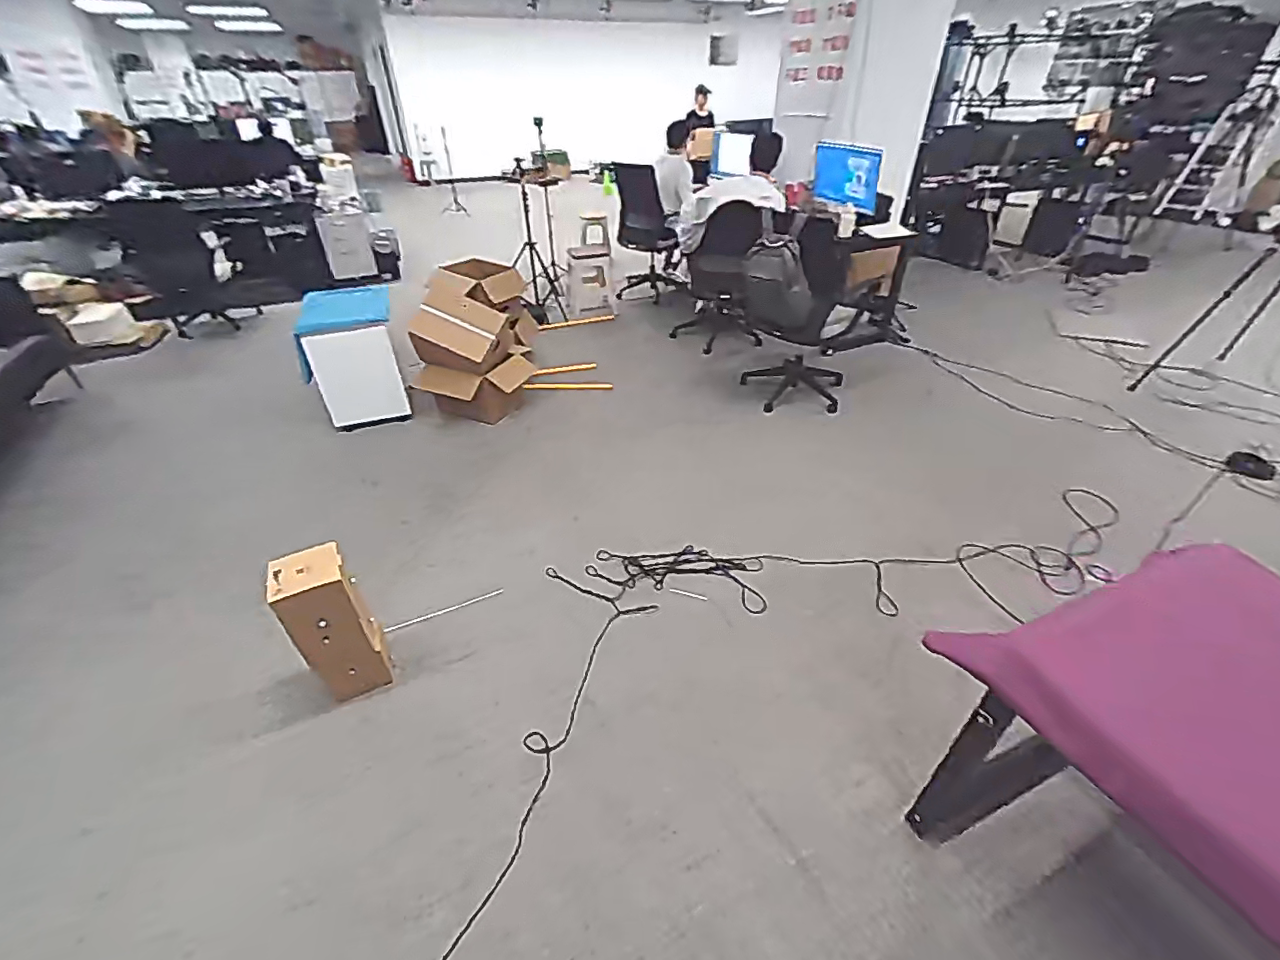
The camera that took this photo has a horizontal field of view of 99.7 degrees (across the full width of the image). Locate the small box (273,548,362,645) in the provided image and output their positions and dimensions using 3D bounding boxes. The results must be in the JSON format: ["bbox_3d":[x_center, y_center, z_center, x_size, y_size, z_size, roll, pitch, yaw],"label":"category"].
[{"bbox_3d":[-0.894,0.326,1.512,0.179,0.176,0.168,-17,39,-21],"label":"small box"}]

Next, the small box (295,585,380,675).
[{"bbox_3d":[-0.900,0.451,1.618,0.179,0.176,0.168,-17,39,-19],"label":"small box"}]

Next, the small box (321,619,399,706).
[{"bbox_3d":[-0.886,0.582,1.717,0.179,0.176,0.168,-16,39,-20],"label":"small box"}]
